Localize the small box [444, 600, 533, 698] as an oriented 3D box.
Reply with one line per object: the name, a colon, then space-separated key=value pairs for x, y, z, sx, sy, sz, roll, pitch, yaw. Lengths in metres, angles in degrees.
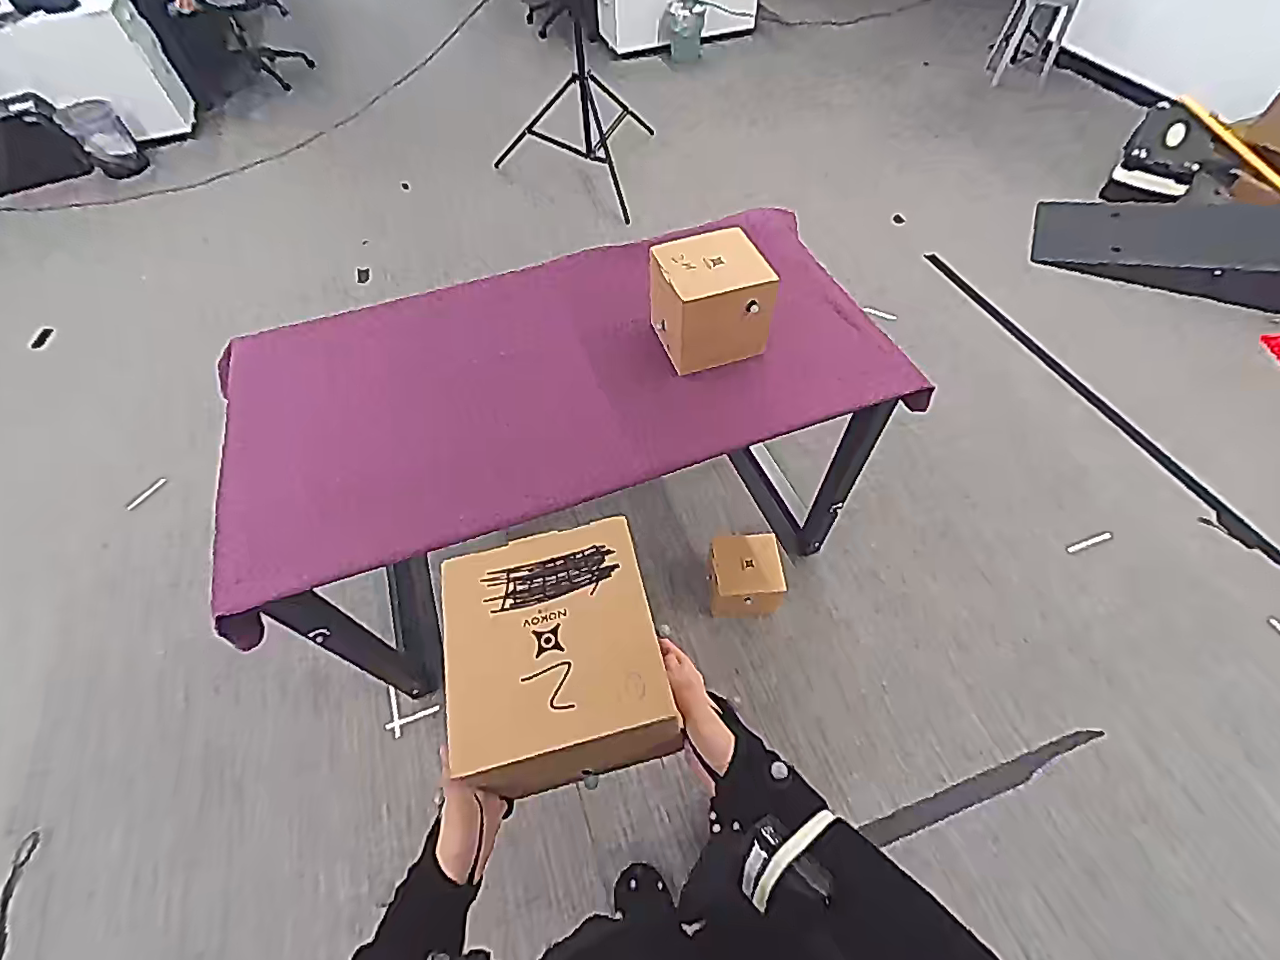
small box: x=-0.381 y=0.439 z=1.380 sx=0.168 sy=0.176 sz=0.179 roll=-17 pitch=56 yaw=-9

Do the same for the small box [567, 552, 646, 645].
small box: x=-0.086 y=0.324 z=1.448 sx=0.168 sy=0.176 sz=0.179 roll=-16 pitch=56 yaw=-9

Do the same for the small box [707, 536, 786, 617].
small box: x=0.282 y=0.265 z=1.475 sx=0.179 sy=0.176 sz=0.168 roll=-4 pitch=57 yaw=1

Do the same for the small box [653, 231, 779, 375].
small box: x=0.129 y=-0.320 z=0.991 sx=0.179 sy=0.176 sz=0.168 roll=-17 pitch=56 yaw=-8
